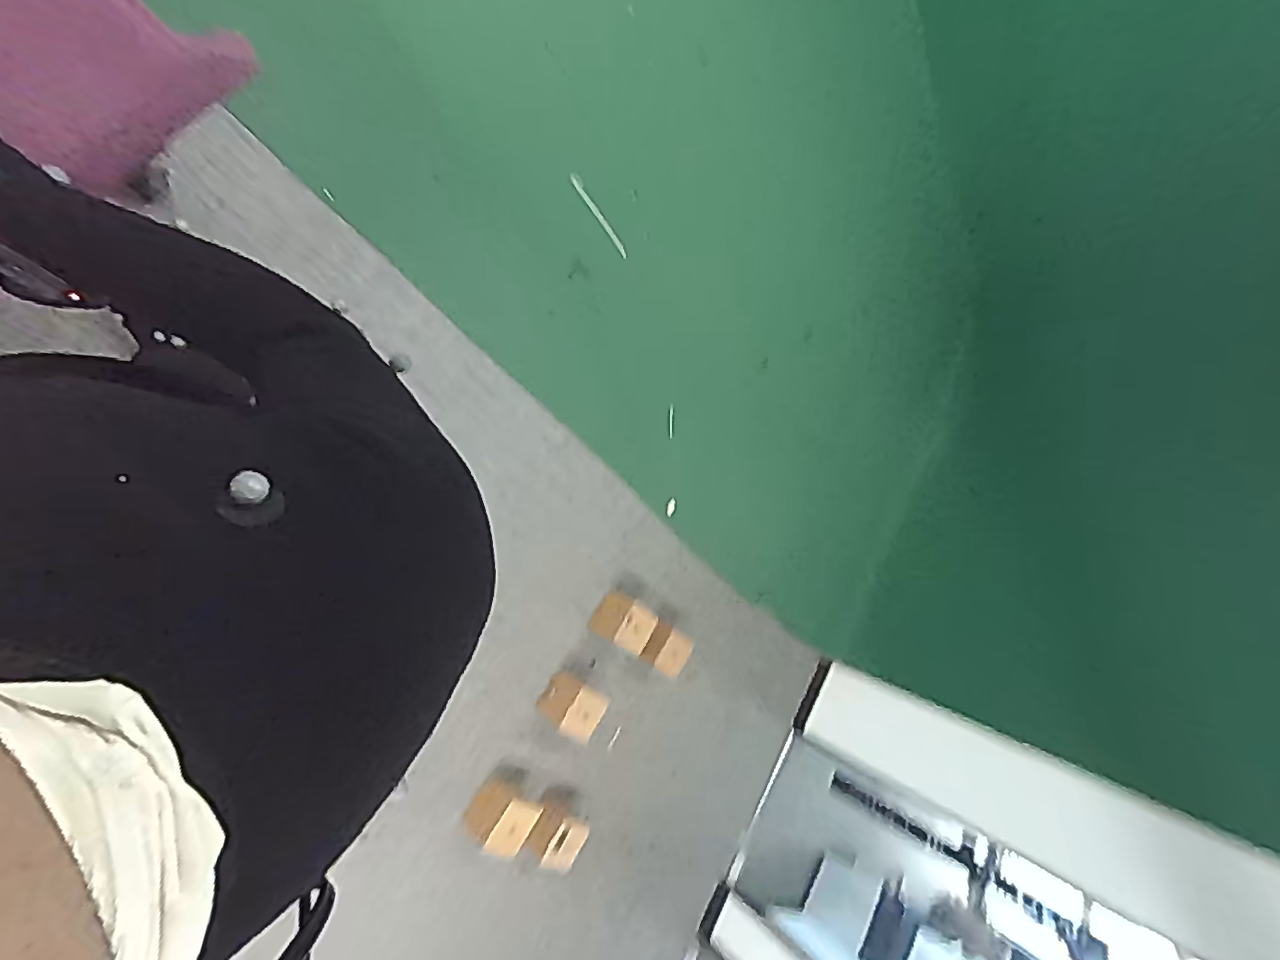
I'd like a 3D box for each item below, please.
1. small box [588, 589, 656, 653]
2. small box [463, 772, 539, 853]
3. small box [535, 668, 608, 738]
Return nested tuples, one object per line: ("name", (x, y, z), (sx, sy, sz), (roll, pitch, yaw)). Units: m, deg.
("small box", (-0.073, 0.558, 2.160), (0.179, 0.176, 0.168), (46, 69, -39))
("small box", (-0.502, 1.185, 1.935), (0.179, 0.176, 0.168), (-55, 129, -16))
("small box", (-0.264, 0.844, 2.060), (0.179, 0.176, 0.168), (47, 69, -38))
